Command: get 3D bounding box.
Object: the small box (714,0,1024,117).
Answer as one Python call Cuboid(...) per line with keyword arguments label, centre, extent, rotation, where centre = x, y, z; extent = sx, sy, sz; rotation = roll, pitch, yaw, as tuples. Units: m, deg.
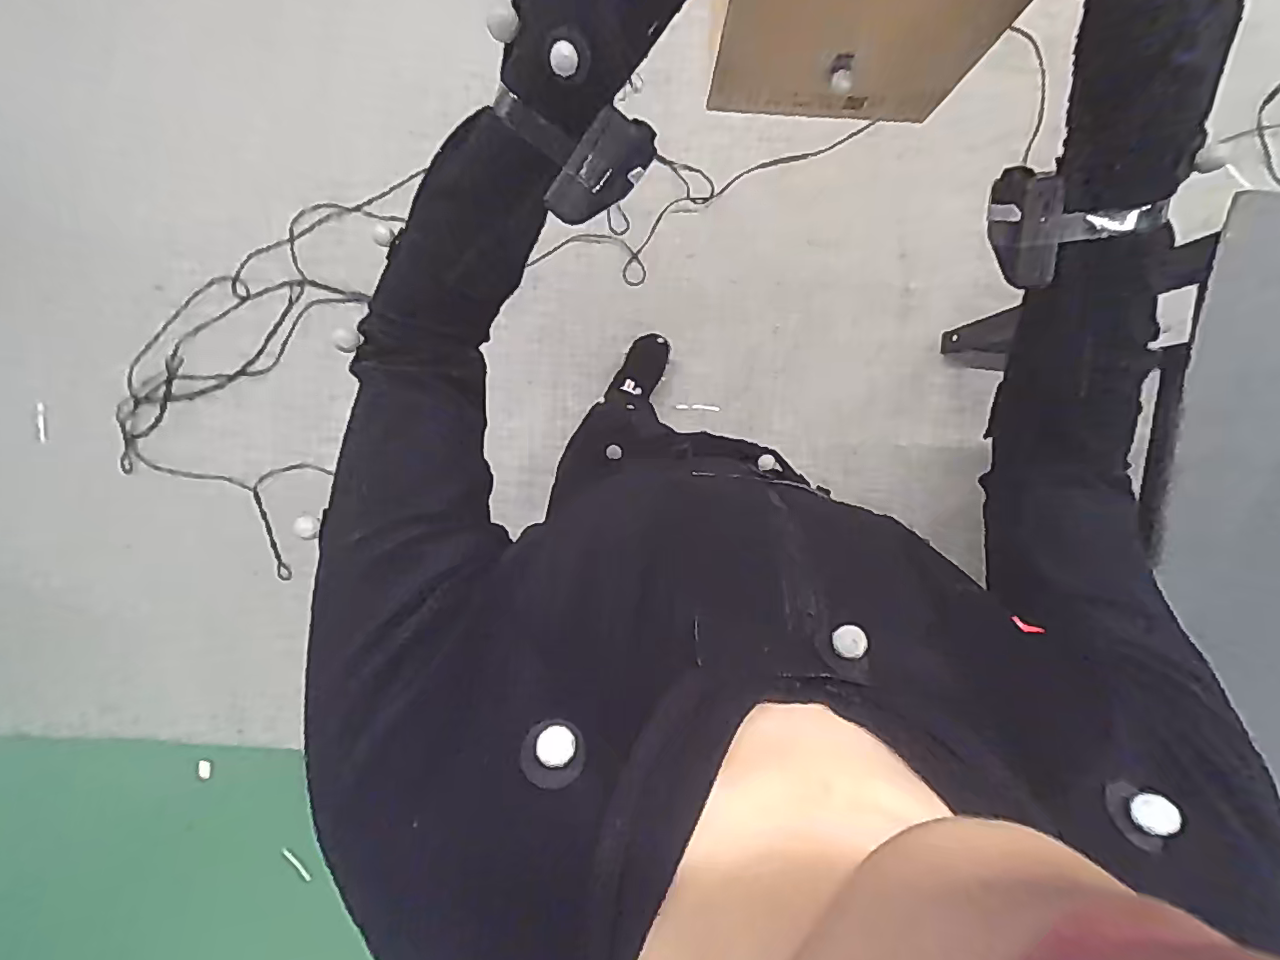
Cuboid(label="small box", centre=(0.140, -0.358, 0.315), extent=(0.168, 0.176, 0.179), rotation=(3, 93, -1))
